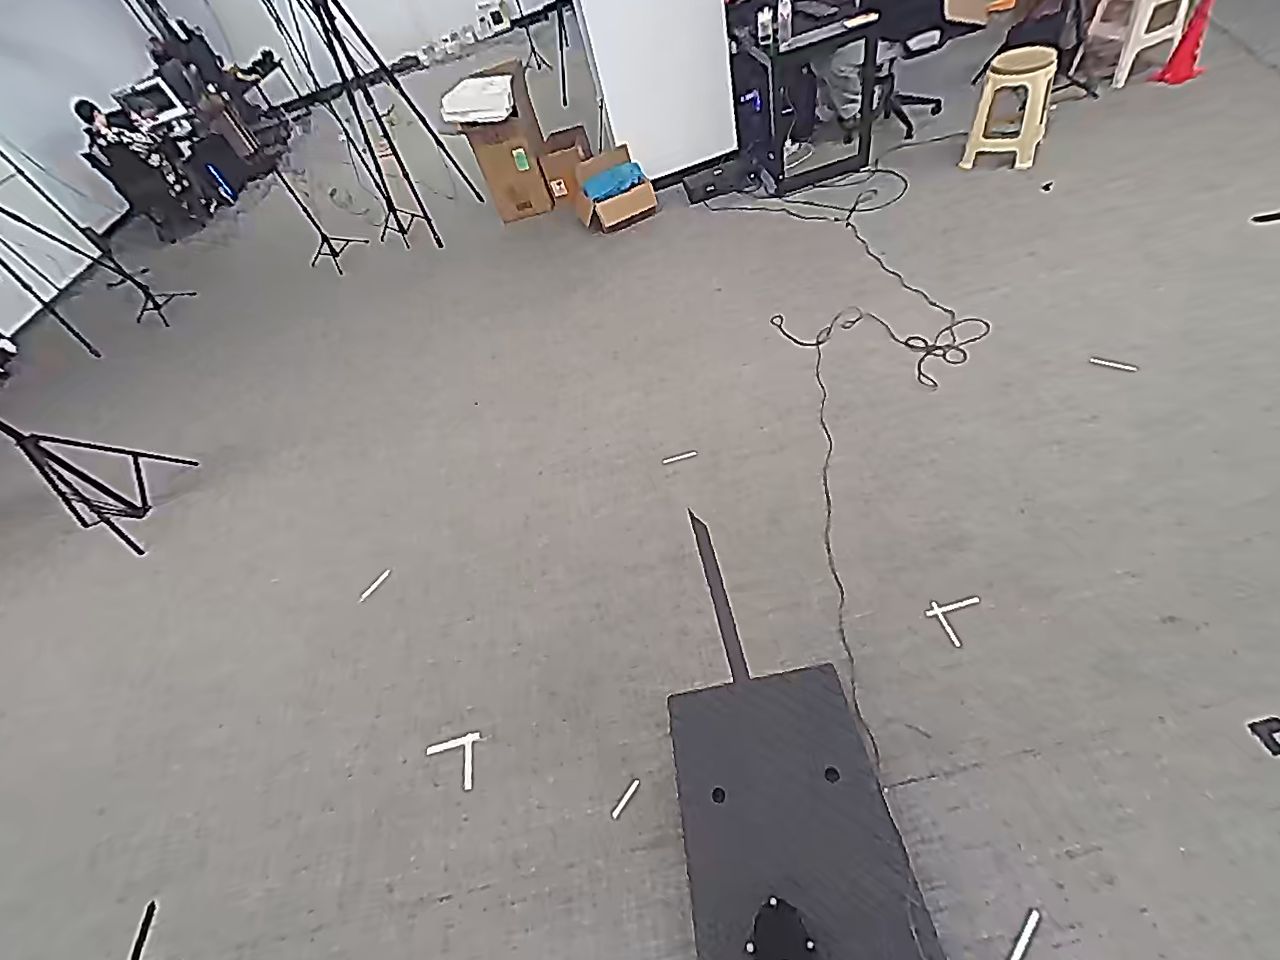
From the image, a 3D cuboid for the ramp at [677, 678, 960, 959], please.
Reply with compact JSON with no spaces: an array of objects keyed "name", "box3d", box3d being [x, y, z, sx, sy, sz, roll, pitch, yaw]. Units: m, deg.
[{"name":"ramp","box3d":[0.379,0.928,1.171,0.509,0.206,0.991,-18,46,5]}]
